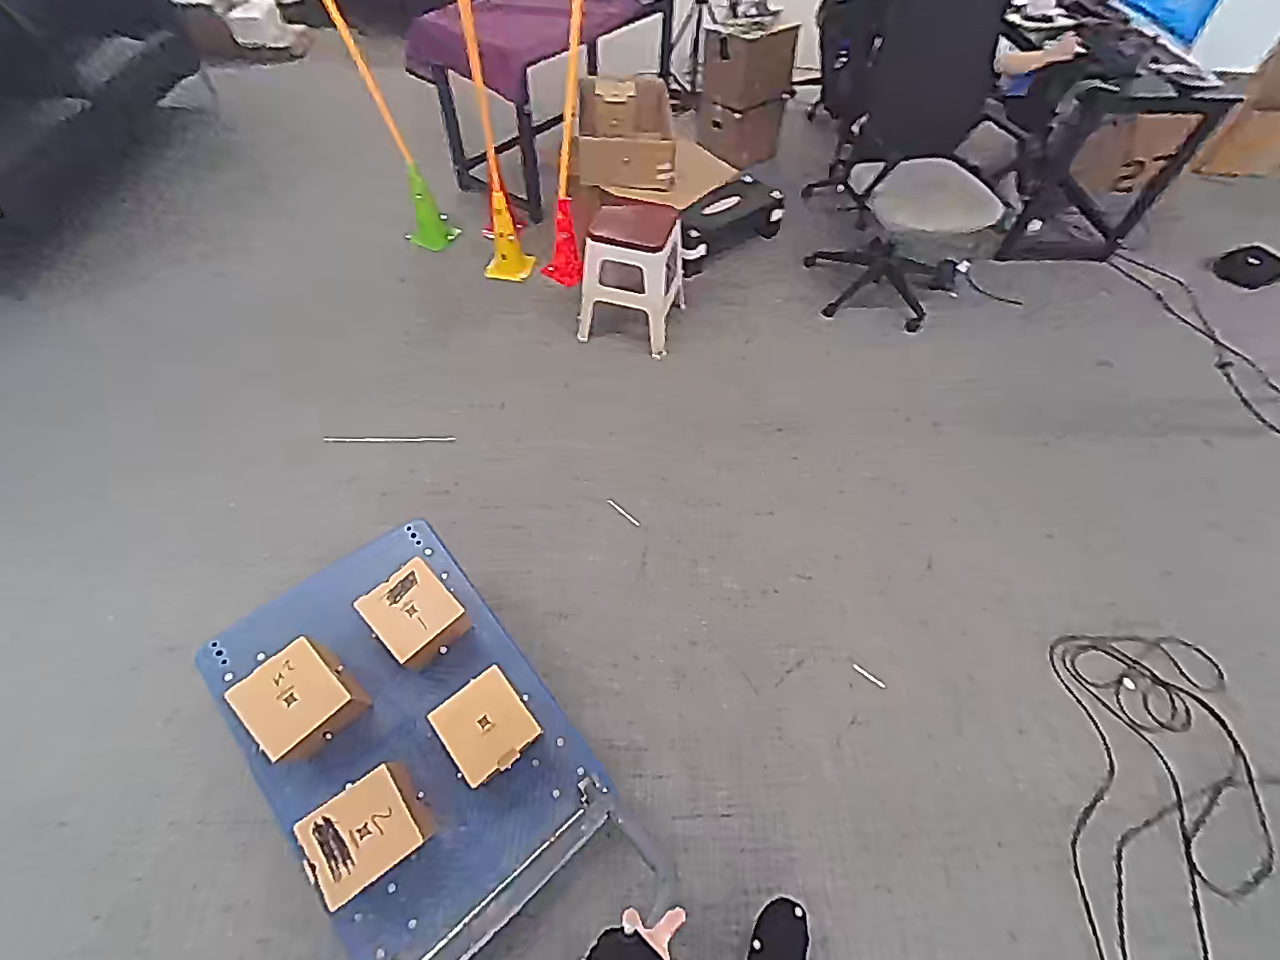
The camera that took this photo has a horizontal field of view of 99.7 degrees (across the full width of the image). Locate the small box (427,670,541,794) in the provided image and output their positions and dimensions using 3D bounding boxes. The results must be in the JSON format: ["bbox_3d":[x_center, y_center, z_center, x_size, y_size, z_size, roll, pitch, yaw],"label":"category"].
[{"bbox_3d":[-0.334,0.543,1.172,0.168,0.176,0.179,-34,76,-24],"label":"small box"}]

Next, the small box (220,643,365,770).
[{"bbox_3d":[-0.711,0.472,1.130,0.179,0.176,0.168,44,63,12],"label":"small box"}]

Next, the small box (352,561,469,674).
[{"bbox_3d":[-0.518,0.322,1.242,0.168,0.176,0.179,-40,78,-25],"label":"small box"}]
